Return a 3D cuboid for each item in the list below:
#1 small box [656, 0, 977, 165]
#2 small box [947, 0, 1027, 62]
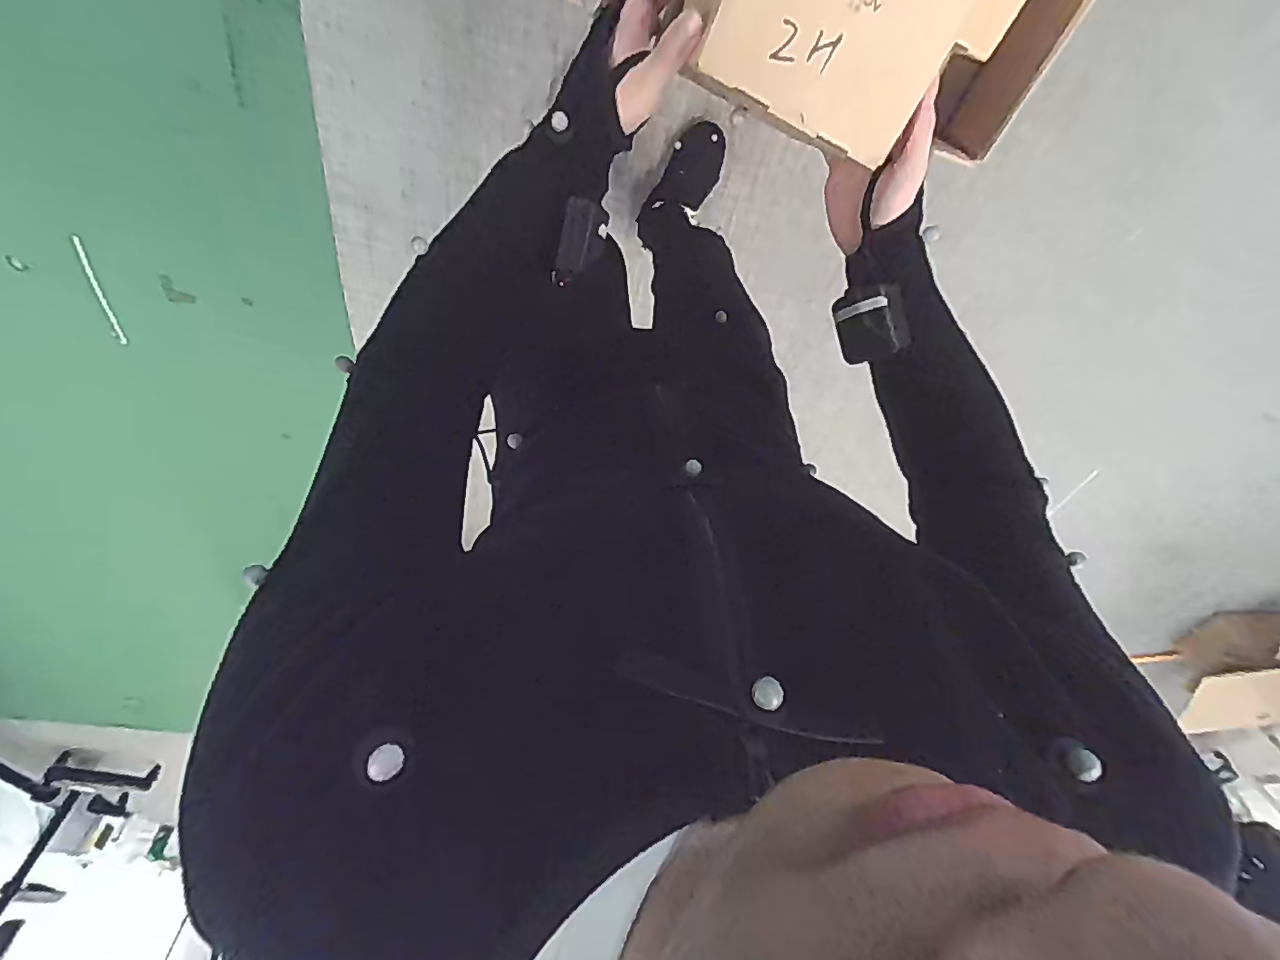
[{"bbox_3d":[0.126,-0.369,0.395,0.168,0.176,0.179,14,124,-22],"label":"small box"},{"bbox_3d":[0.371,-0.638,0.635,0.168,0.176,0.179,14,133,-13],"label":"small box"}]
